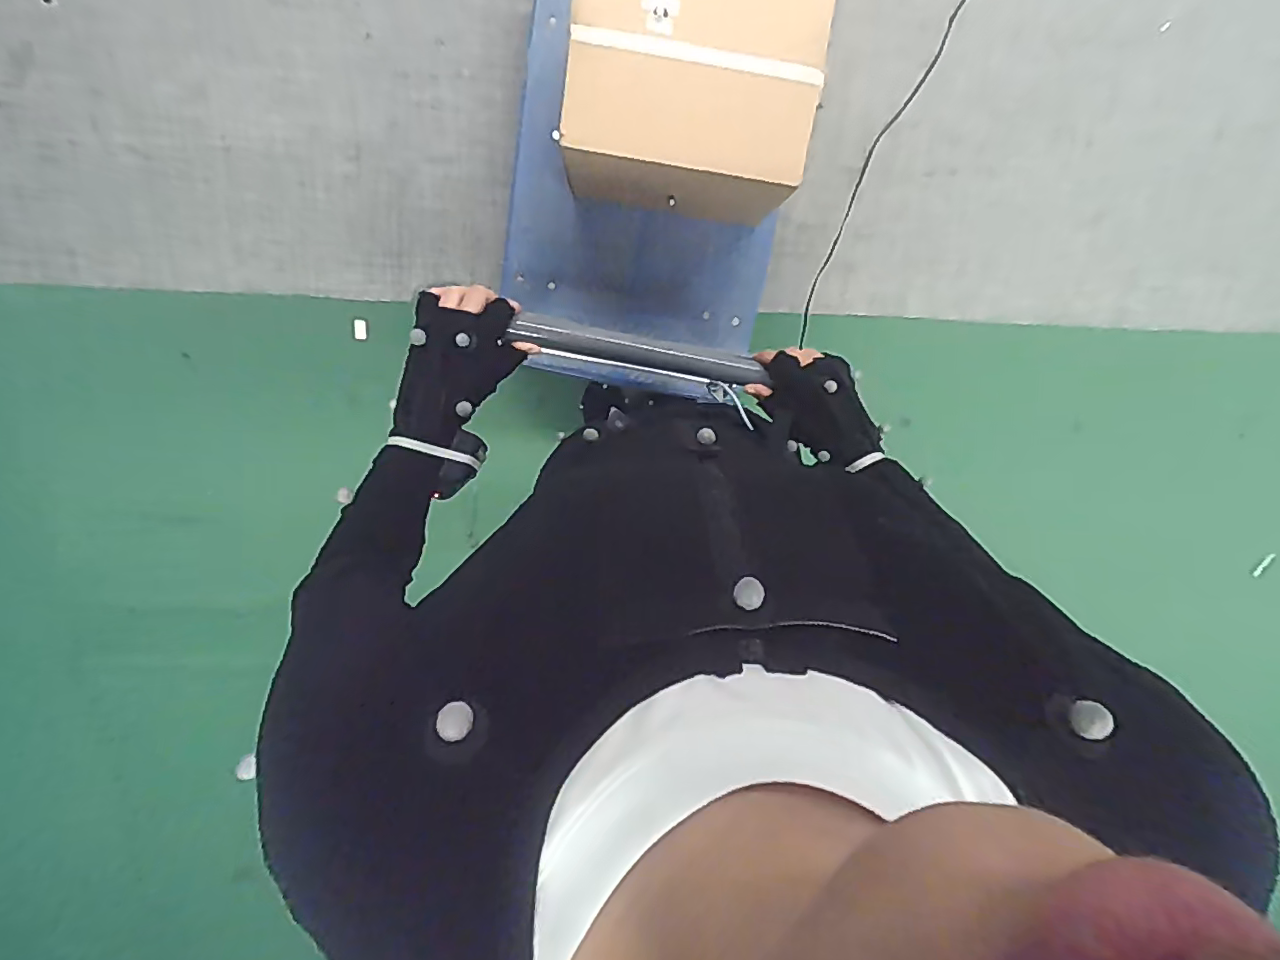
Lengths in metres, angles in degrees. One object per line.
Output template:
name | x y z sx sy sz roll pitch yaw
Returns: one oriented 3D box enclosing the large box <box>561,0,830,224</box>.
large box | 0.083 -0.695 1.001 0.408 0.320 0.320 7 101 -4
